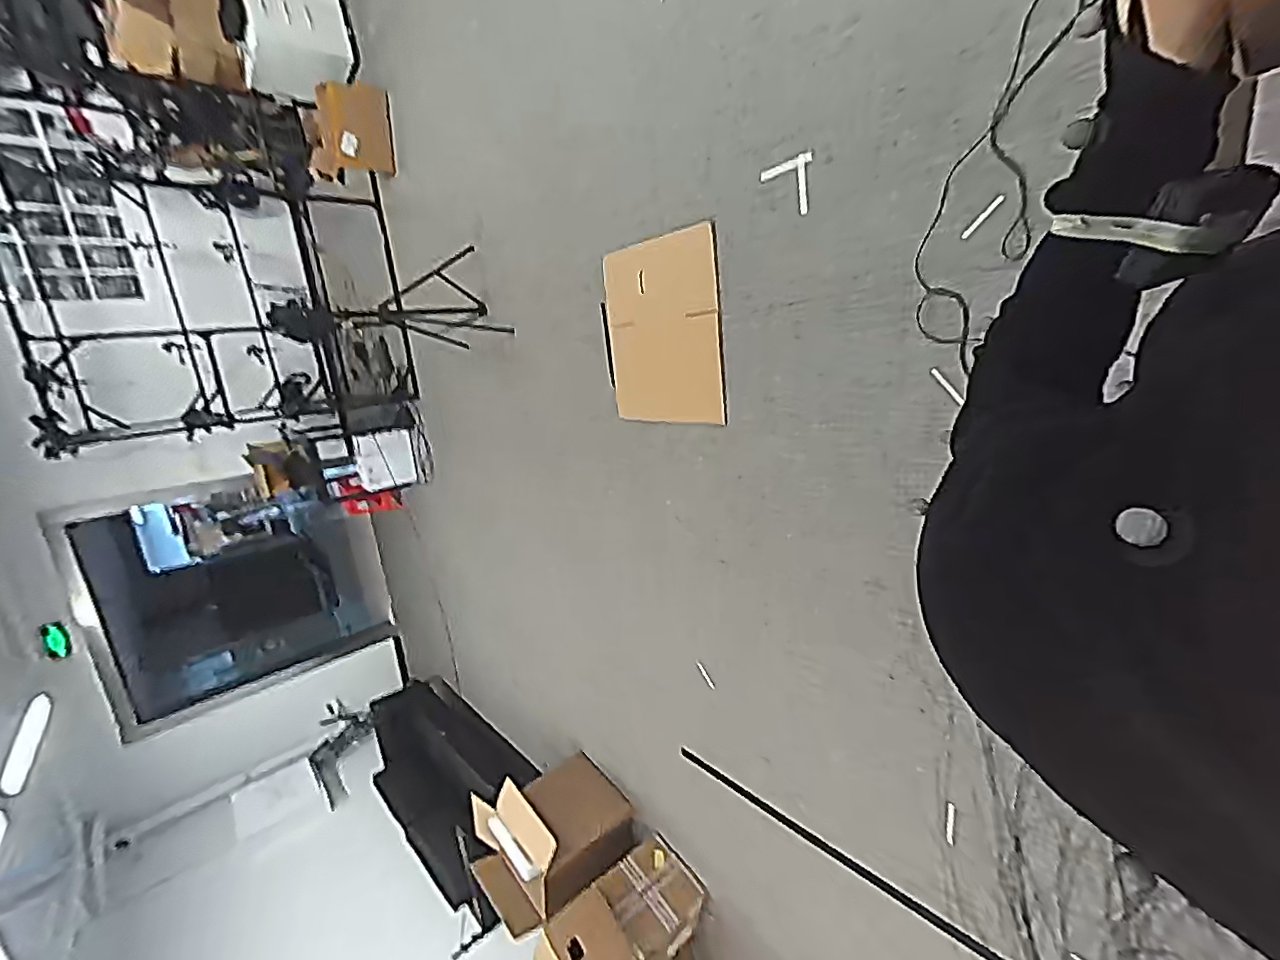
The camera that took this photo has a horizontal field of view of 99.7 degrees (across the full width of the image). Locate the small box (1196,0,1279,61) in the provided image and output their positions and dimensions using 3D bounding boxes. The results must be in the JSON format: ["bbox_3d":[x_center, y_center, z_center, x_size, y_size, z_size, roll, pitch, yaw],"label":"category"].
[{"bbox_3d":[0.300,-0.302,0.188,0.168,0.176,0.179,-9,96,51],"label":"small box"}]
